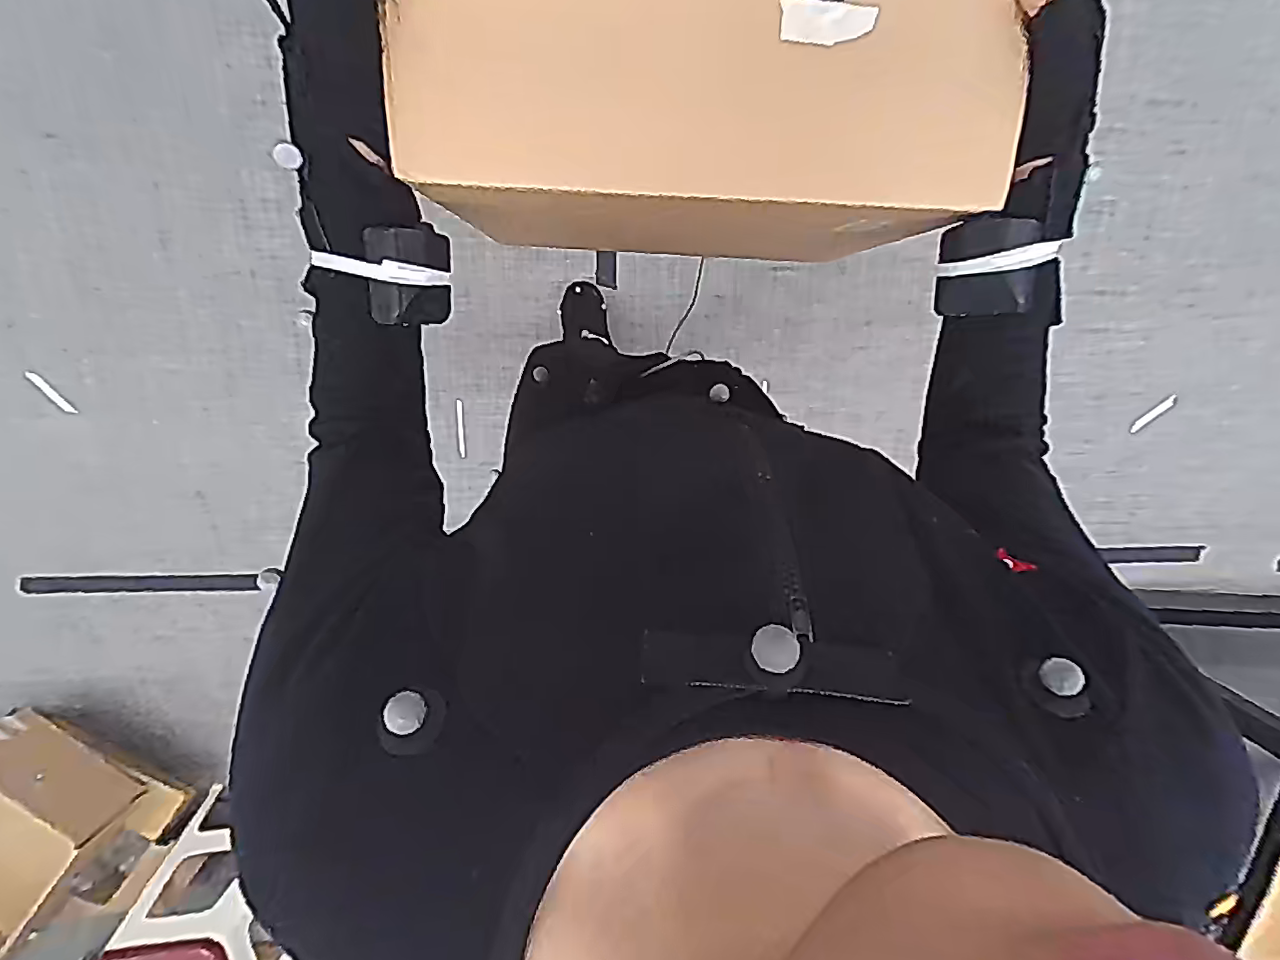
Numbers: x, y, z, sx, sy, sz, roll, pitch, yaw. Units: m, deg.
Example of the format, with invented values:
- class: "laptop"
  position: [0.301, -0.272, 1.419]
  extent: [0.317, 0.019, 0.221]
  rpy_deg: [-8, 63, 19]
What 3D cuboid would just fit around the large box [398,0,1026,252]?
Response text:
- class: "large box"
  position: [0.041, -0.385, 0.468]
  extent: [0.408, 0.320, 0.320]
  rpy_deg: [1, 107, -3]
